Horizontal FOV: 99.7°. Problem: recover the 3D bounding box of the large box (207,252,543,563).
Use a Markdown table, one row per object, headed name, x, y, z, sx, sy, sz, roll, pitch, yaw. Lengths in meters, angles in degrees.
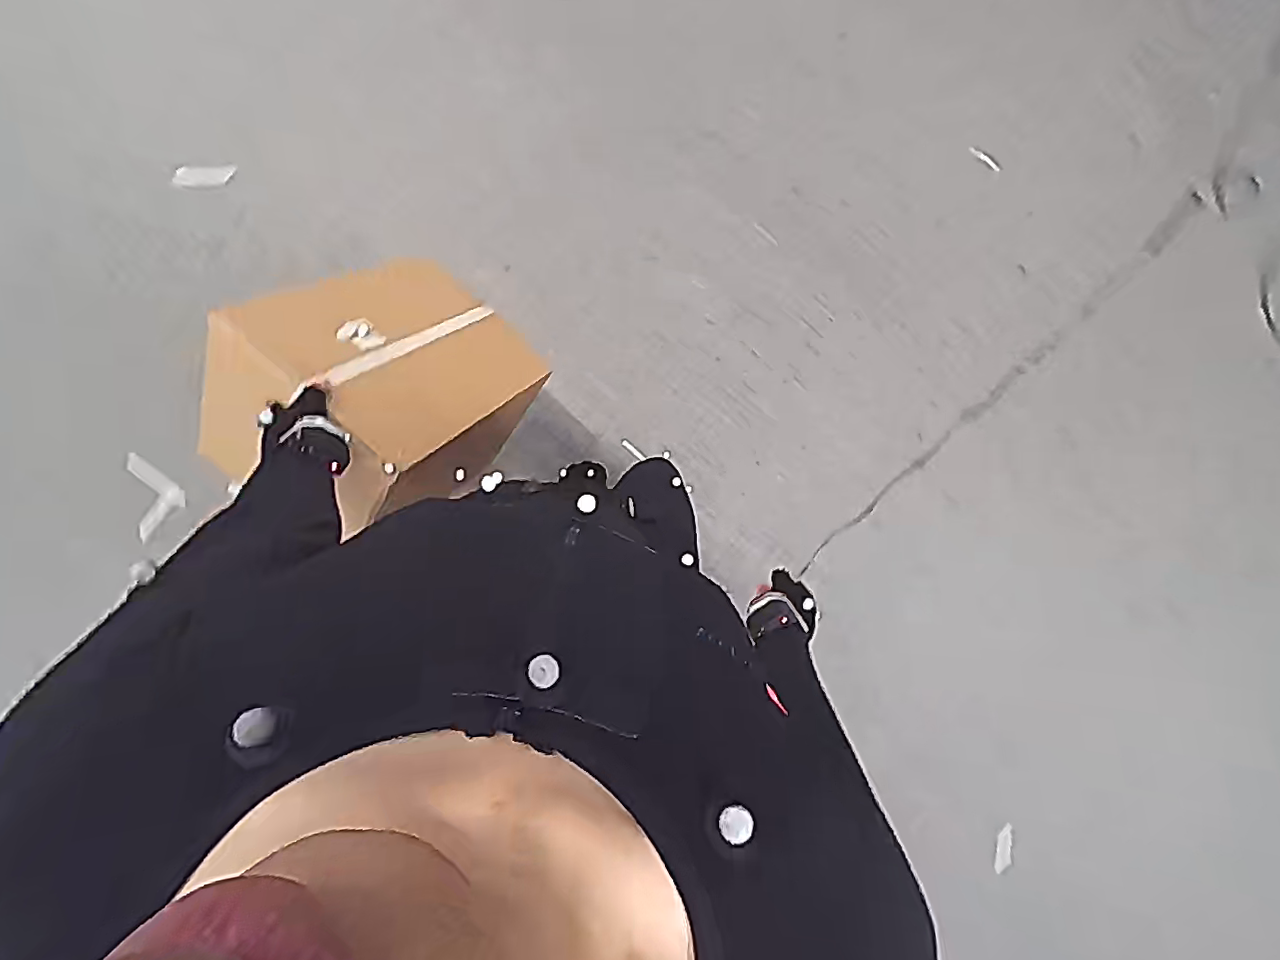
| name | x | y | z | sx | sy | sz | roll | pitch | yaw |
| --- | --- | --- | --- | --- | --- | --- | --- | --- | --- |
| large box | -0.449 | -0.135 | 0.953 | 0.320 | 0.408 | 0.320 | 42 | 132 | -4 |
